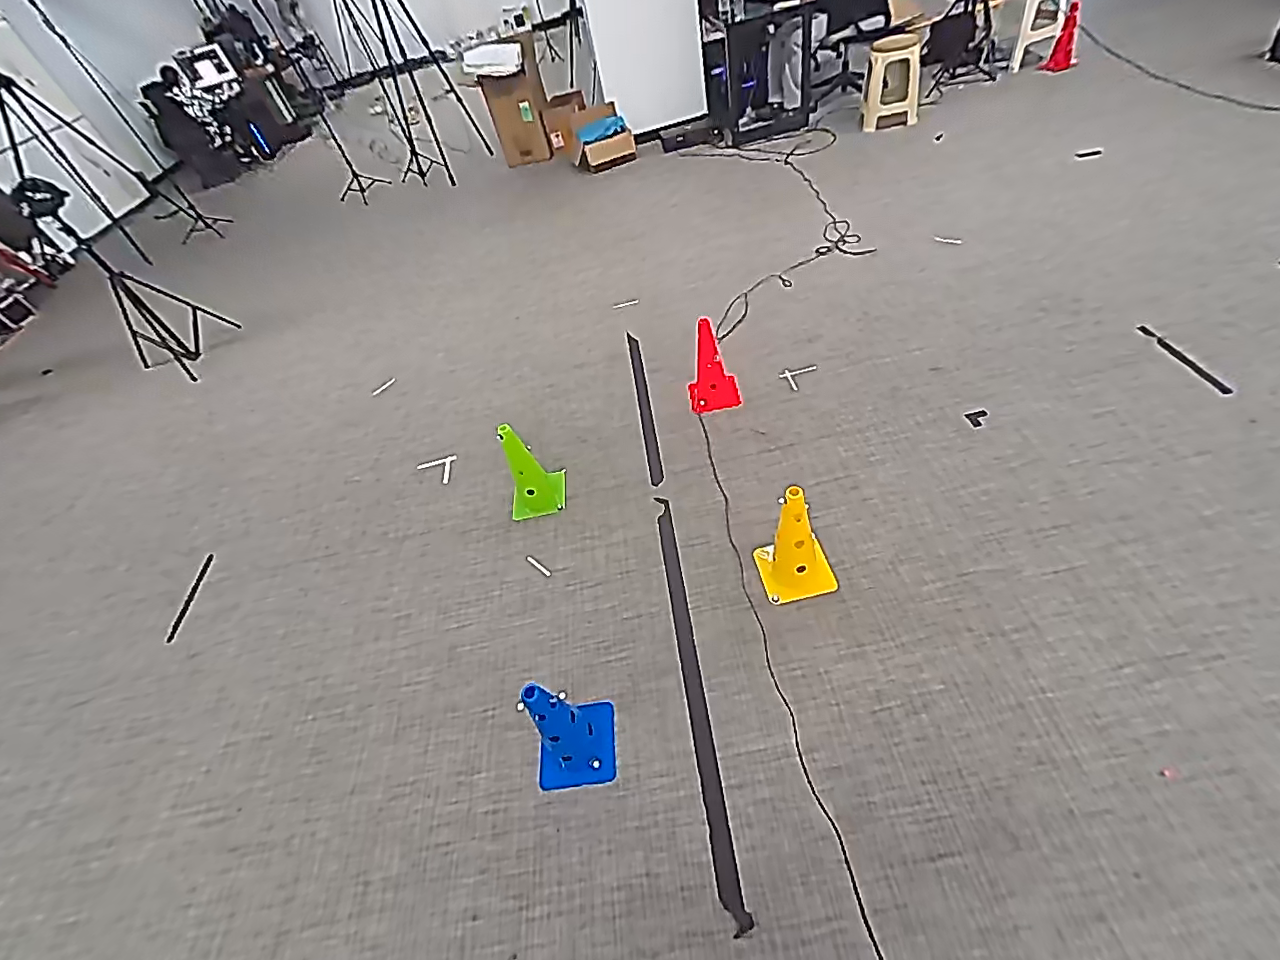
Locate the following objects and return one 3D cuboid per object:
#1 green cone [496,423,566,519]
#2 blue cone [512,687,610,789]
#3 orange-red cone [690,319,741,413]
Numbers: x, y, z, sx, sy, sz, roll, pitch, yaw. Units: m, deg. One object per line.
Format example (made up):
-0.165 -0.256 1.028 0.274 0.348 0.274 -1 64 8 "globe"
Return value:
-0.413 -0.061 1.913 0.202 0.368 0.200 -13 46 5 "green cone"
-0.206 0.579 1.286 0.192 0.380 0.193 -10 46 8 "blue cone"
0.274 -0.461 2.090 0.199 0.360 0.198 -8 48 7 "orange-red cone"
